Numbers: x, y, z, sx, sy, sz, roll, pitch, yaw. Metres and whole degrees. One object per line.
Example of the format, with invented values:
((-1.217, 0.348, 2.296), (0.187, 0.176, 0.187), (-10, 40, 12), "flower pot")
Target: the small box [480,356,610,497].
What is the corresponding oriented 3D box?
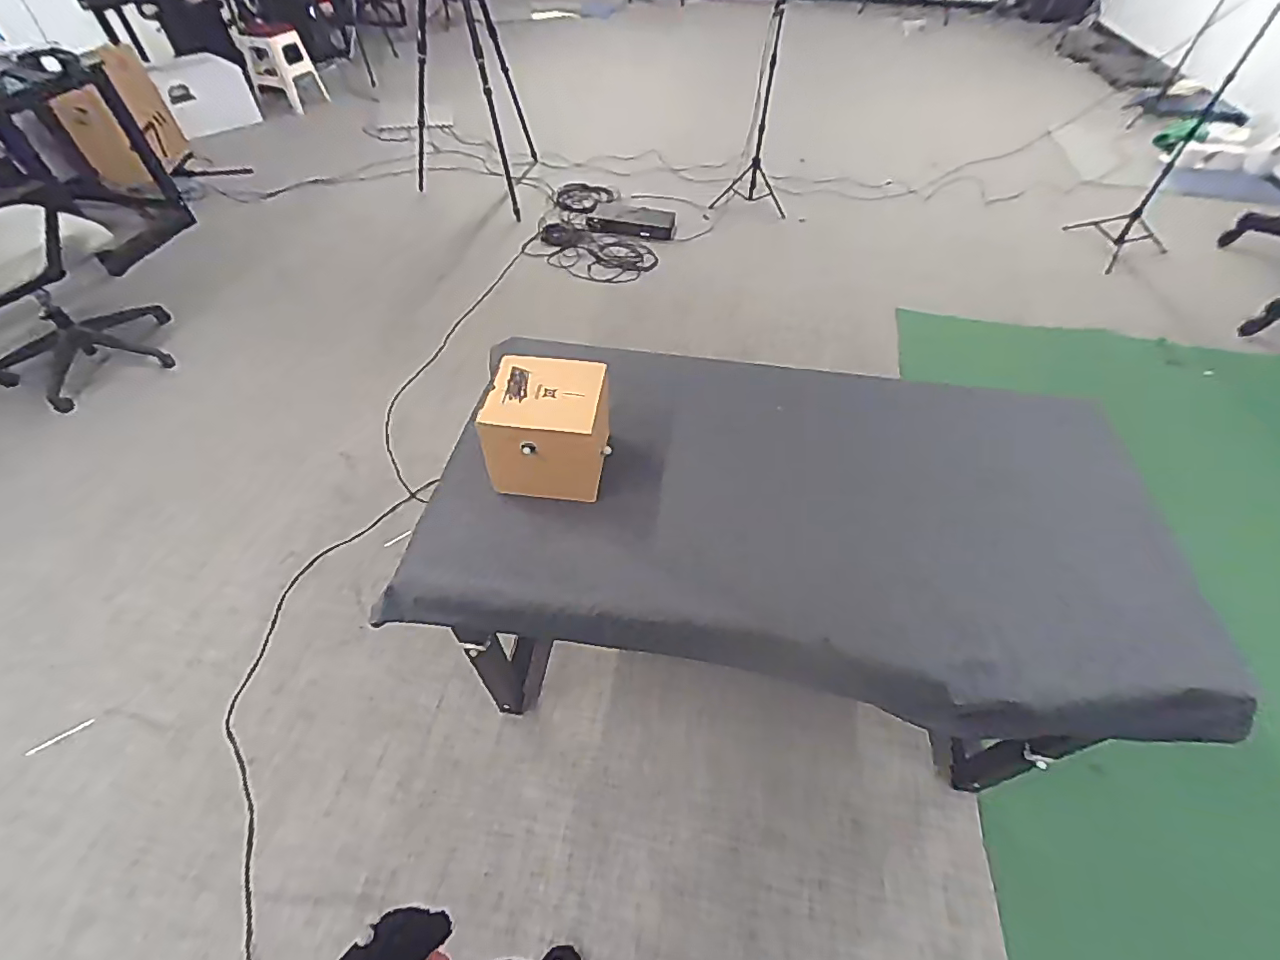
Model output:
((-0.148, -0.087, 0.912), (0.179, 0.176, 0.168), (6, 51, 2), "small box")
